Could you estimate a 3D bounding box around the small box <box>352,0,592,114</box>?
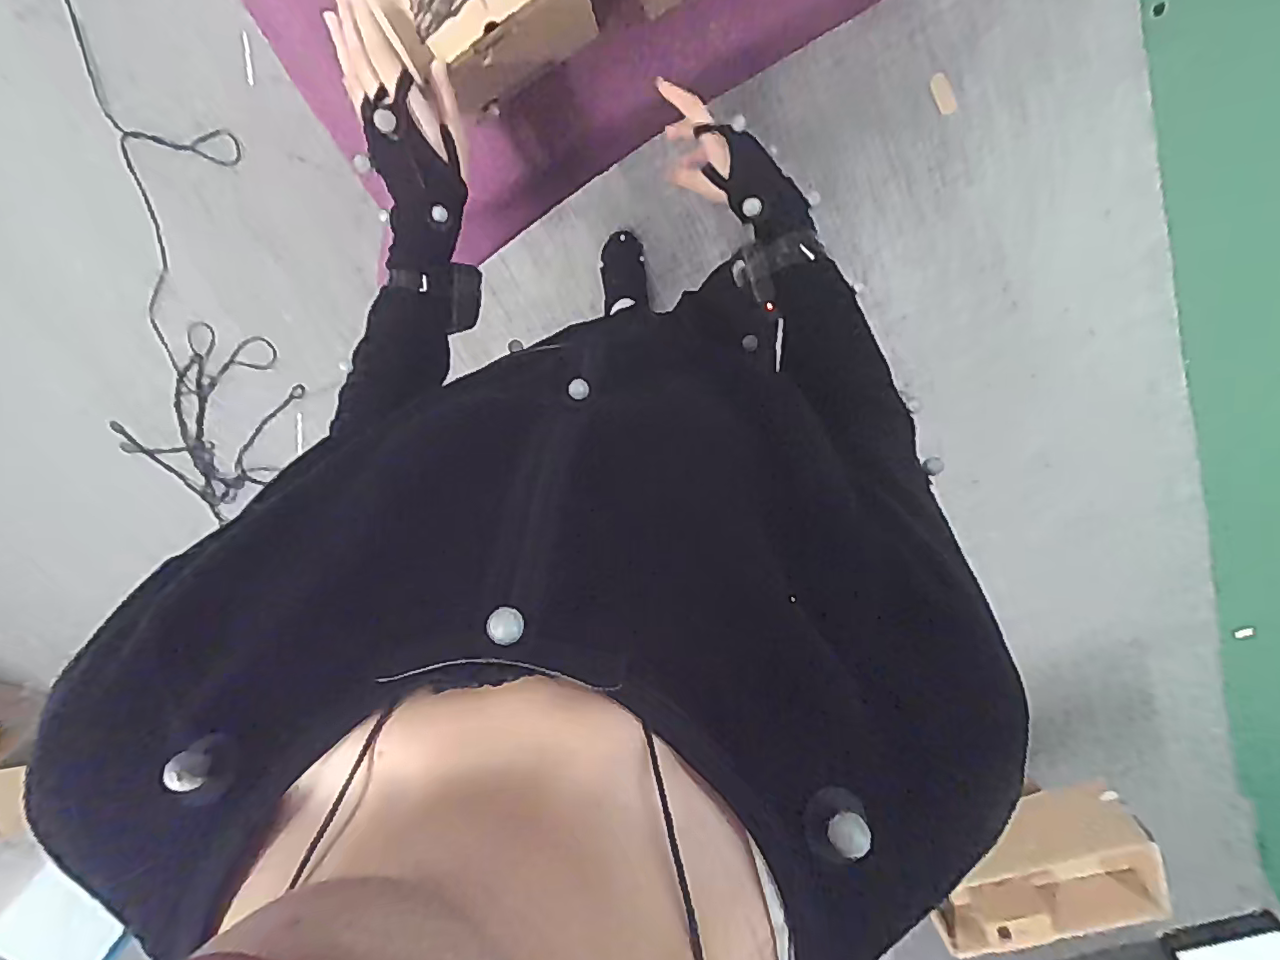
[{"bbox_3d":[-0.157,-0.455,0.473,0.168,0.176,0.179,-26,112,14],"label":"small box"}]
